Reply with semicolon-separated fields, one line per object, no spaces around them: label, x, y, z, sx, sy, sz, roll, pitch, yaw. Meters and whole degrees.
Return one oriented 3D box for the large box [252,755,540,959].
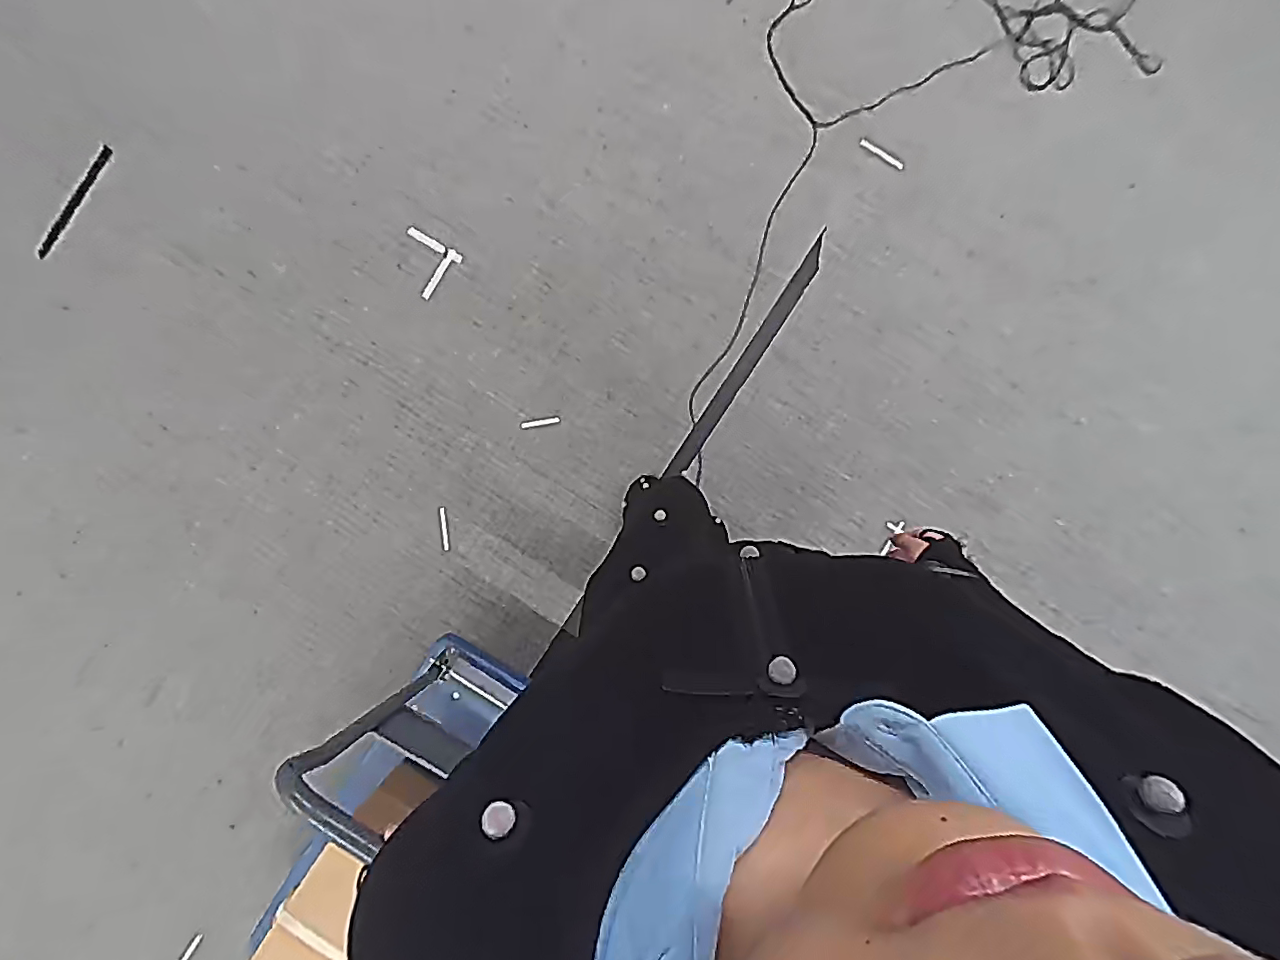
large box;-0.483;0.883;1.155;0.408;0.320;0.320;33;89;1
